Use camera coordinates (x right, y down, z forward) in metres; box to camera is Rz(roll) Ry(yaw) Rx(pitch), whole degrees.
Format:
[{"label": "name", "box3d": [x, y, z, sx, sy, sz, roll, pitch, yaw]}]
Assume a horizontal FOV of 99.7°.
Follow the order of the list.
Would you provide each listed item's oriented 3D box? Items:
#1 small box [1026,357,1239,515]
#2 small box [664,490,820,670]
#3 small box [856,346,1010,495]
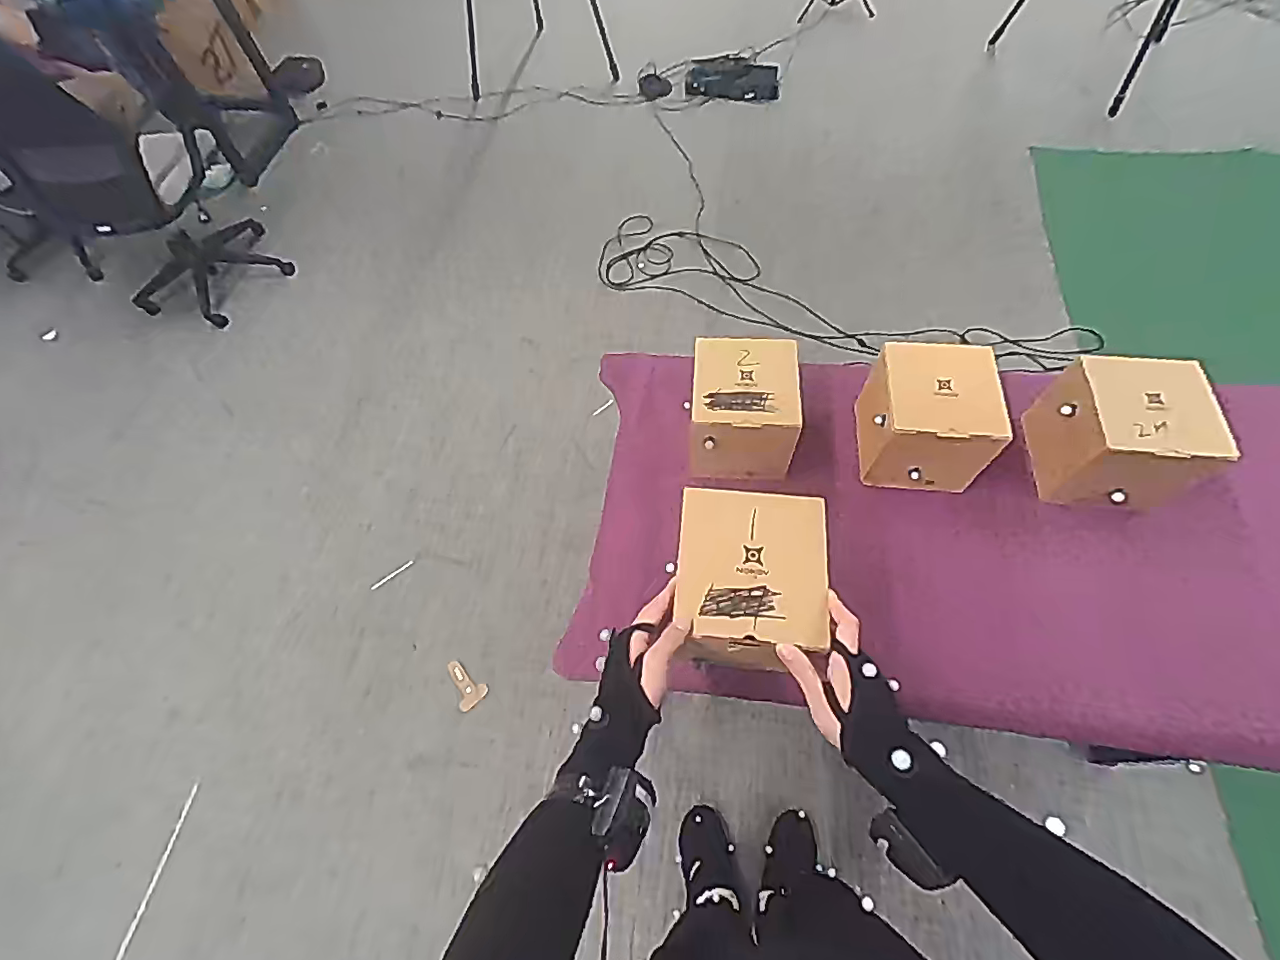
[{"label": "small box", "box3d": [0.741, -0.066, 0.843, 0.168, 0.176, 0.179, 5, 62, 9]}, {"label": "small box", "box3d": [0.122, 0.131, 0.674, 0.168, 0.176, 0.179, 4, 63, 6]}, {"label": "small box", "box3d": [0.464, -0.094, 0.888, 0.168, 0.176, 0.179, 4, 63, 7]}]
